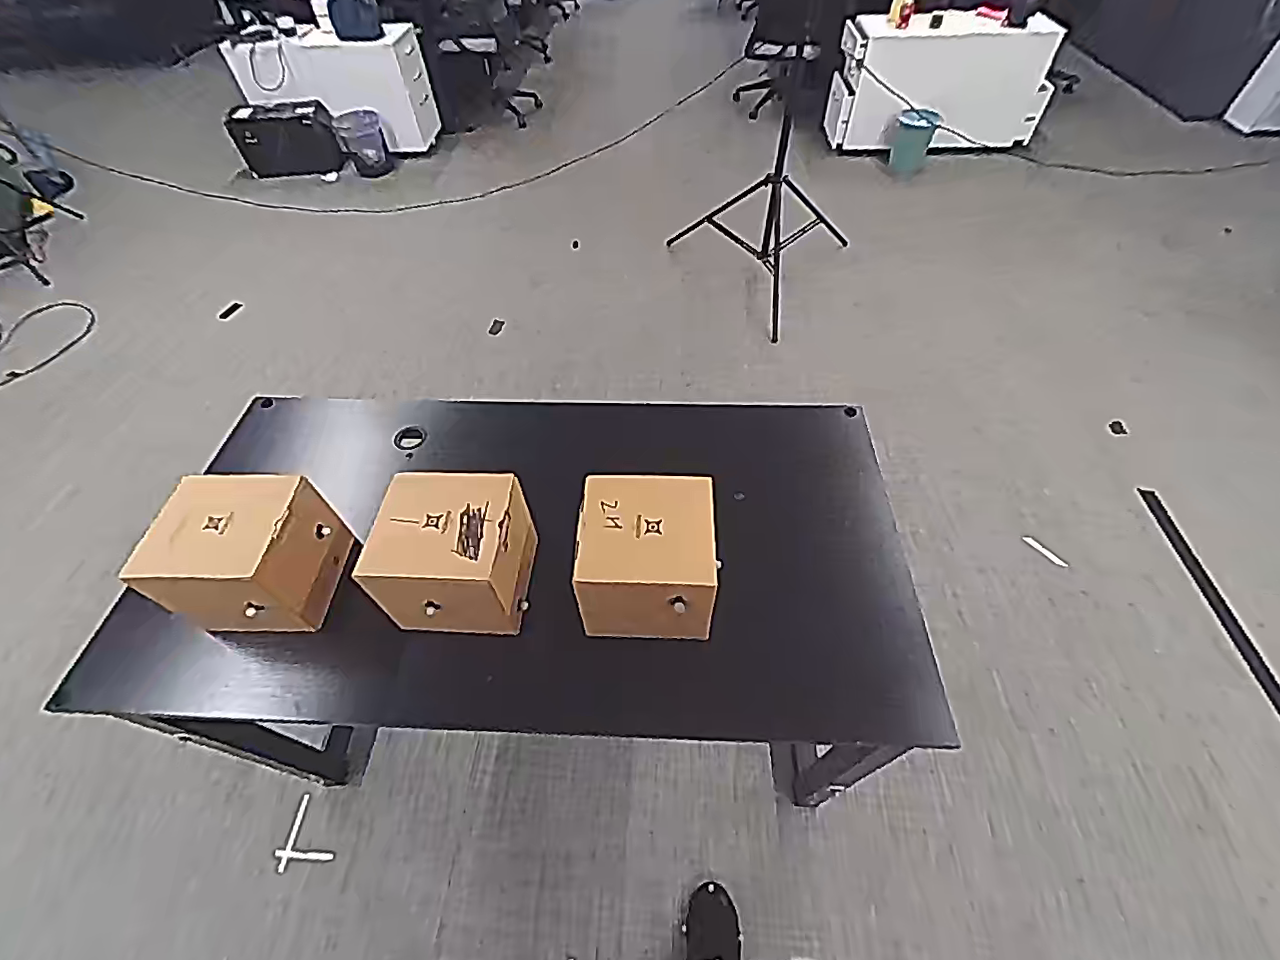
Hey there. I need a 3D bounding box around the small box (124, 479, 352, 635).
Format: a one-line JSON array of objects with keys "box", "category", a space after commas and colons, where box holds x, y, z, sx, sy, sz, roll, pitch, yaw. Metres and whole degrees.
[{"box": [-0.554, 0.114, 0.782, 0.179, 0.176, 0.168, -1, 51, 2], "category": "small box"}]

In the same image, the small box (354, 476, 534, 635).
[{"box": [-0.260, 0.111, 0.772, 0.179, 0.176, 0.168, 1, 52, 4], "category": "small box"}]

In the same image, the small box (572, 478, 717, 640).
[{"box": [0.011, 0.114, 0.758, 0.179, 0.176, 0.168, 0, 51, 3], "category": "small box"}]
